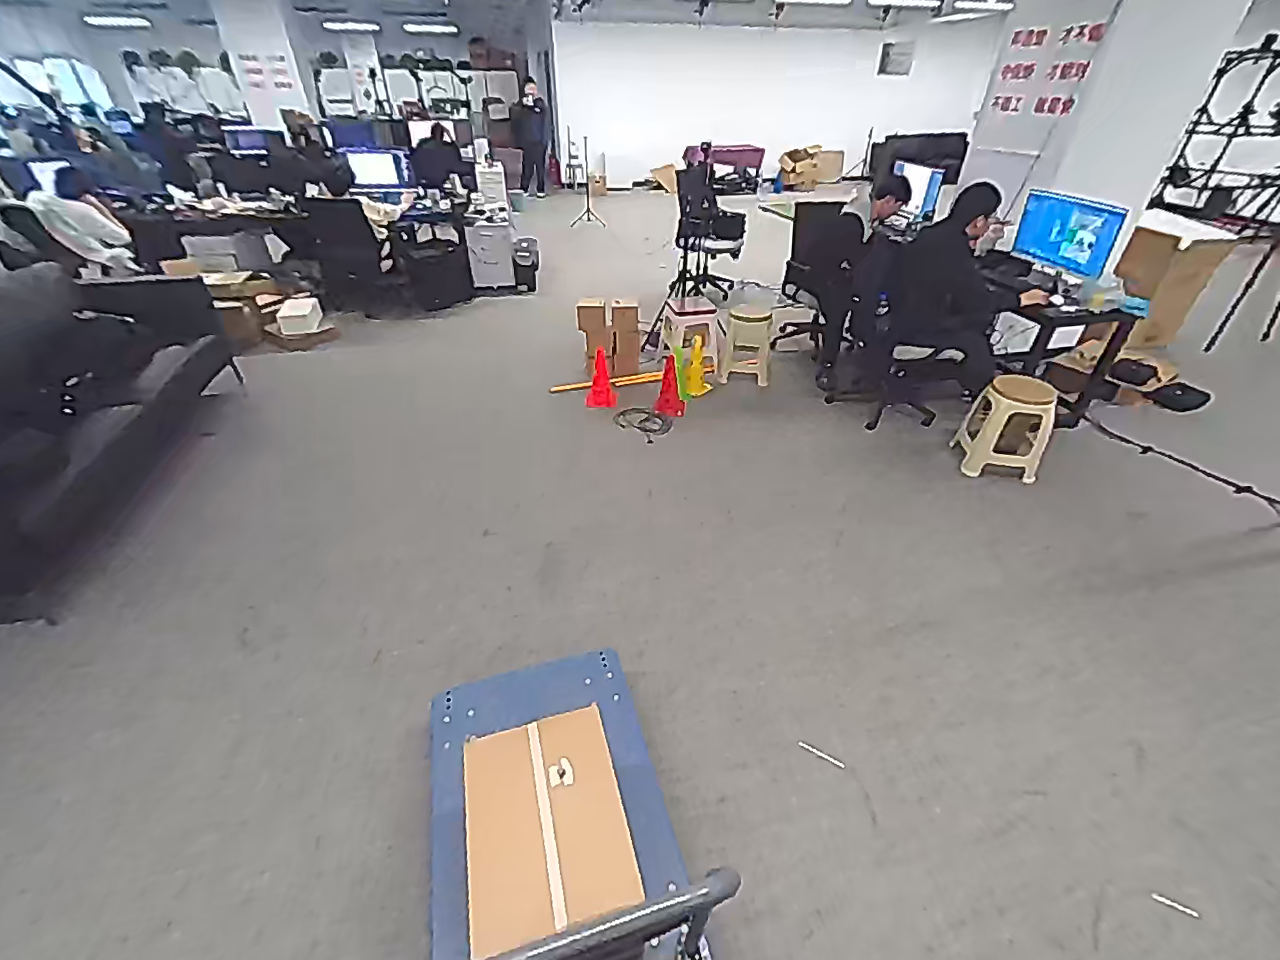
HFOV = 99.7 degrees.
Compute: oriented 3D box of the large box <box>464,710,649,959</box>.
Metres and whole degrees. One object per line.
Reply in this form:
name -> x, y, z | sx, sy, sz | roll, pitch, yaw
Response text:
large box -> -0.187, 0.803, 1.179 | 0.320, 0.320, 0.408 | -10, 36, -13
